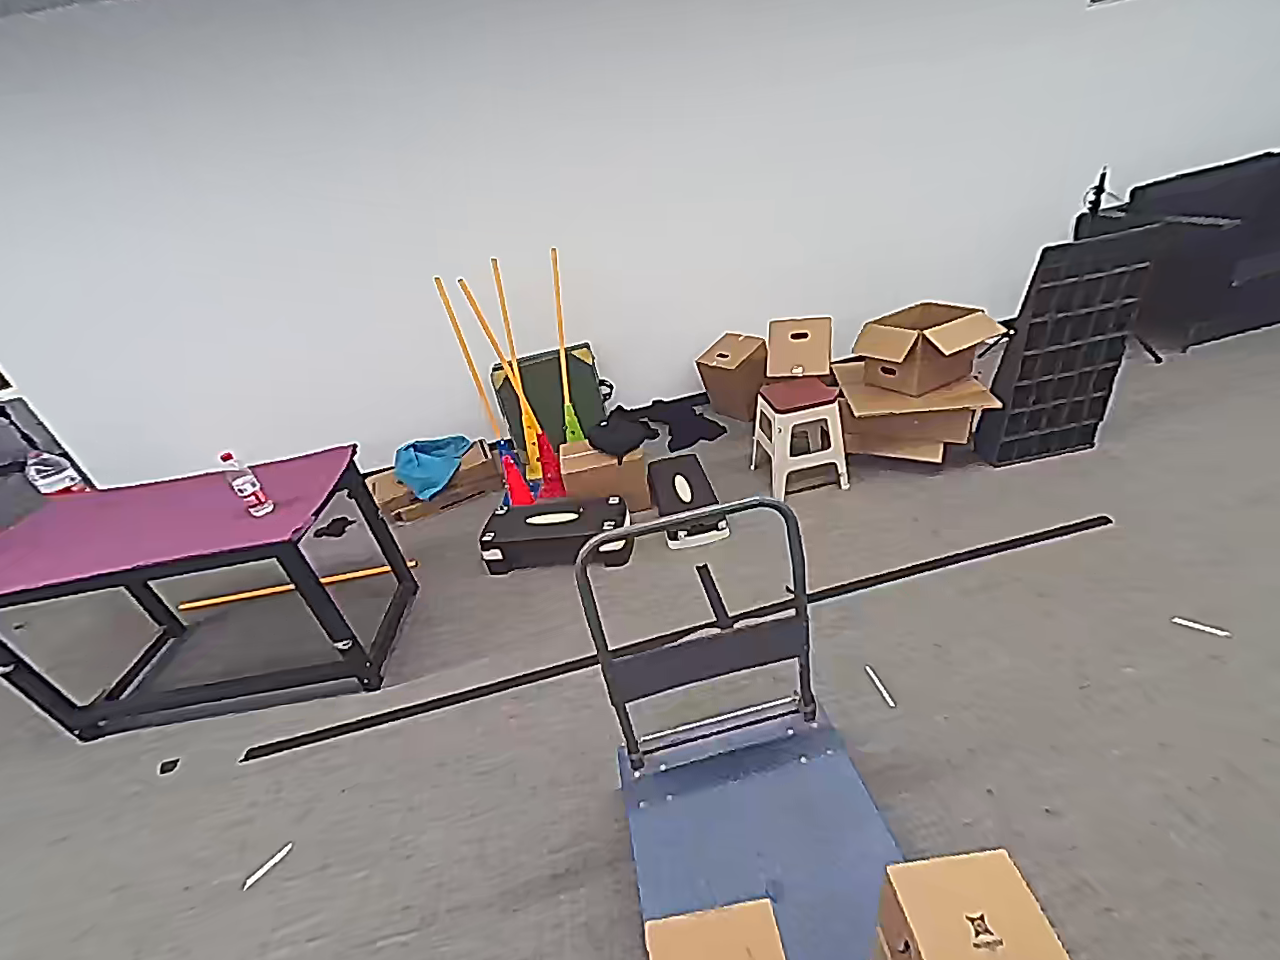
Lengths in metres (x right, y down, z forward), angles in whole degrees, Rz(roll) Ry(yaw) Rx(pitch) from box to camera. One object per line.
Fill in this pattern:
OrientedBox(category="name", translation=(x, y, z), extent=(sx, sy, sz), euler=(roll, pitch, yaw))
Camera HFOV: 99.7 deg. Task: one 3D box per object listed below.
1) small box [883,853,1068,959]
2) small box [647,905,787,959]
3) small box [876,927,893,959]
OrientedBox(category="small box", translation=(0.434, 0.631, 0.703), extent=(0.168, 0.176, 0.179), euler=(-10, 31, 2))
OrientedBox(category="small box", translation=(0.115, 0.695, 0.700), extent=(0.179, 0.176, 0.168), euler=(-11, 32, 0))
OrientedBox(category="small box", translation=(0.461, 0.771, 0.785), extent=(0.179, 0.176, 0.168), euler=(-10, 31, 0))
